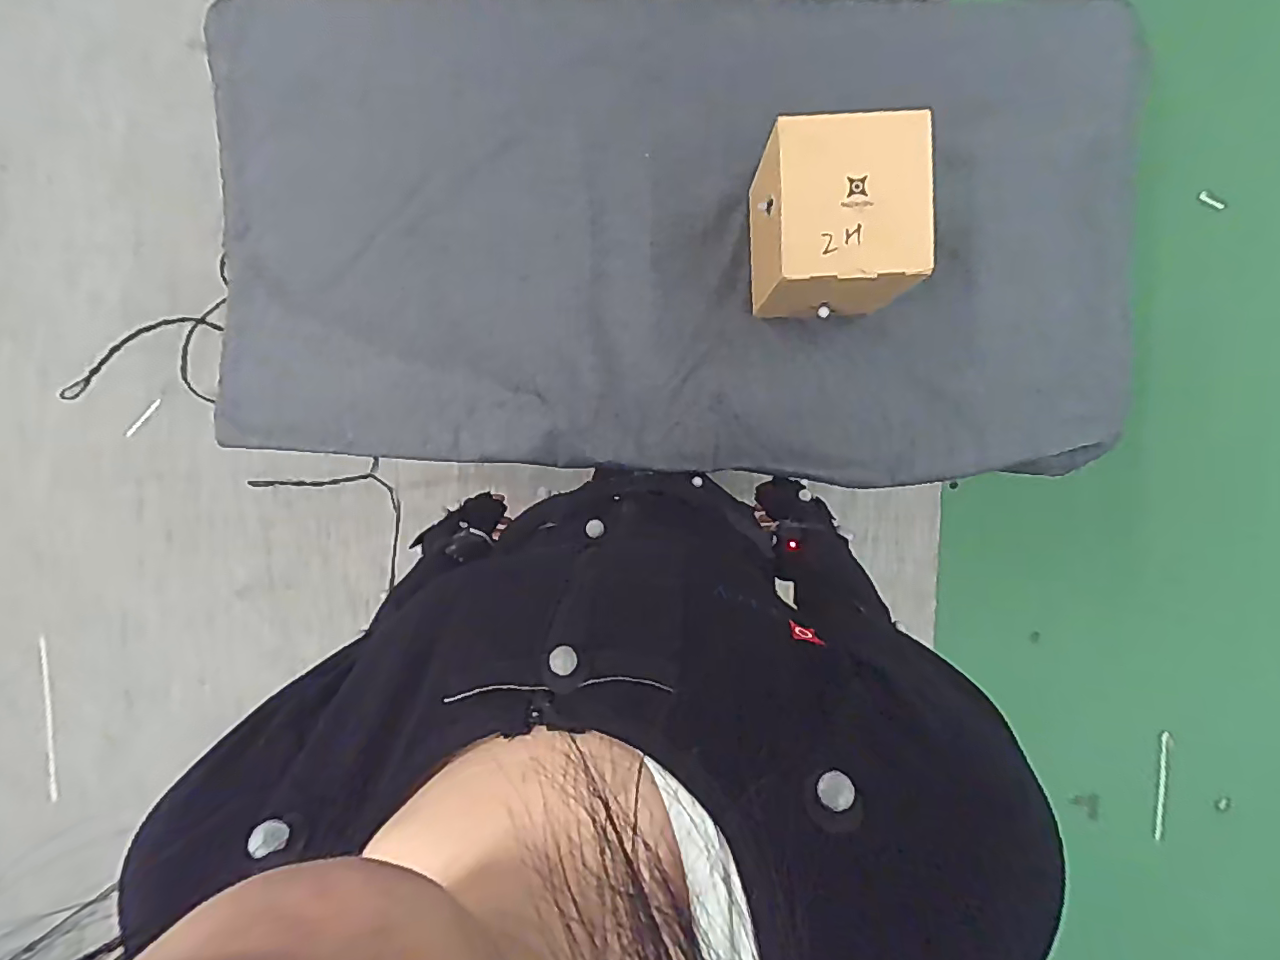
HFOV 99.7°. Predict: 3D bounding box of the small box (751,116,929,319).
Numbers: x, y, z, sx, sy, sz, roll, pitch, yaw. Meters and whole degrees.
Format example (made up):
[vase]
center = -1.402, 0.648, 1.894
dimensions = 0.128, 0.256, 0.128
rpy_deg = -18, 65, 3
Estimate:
[small box]
center = 0.235, -0.311, 0.672
dimensions = 0.168, 0.176, 0.179
rpy_deg = -2, 93, 2
